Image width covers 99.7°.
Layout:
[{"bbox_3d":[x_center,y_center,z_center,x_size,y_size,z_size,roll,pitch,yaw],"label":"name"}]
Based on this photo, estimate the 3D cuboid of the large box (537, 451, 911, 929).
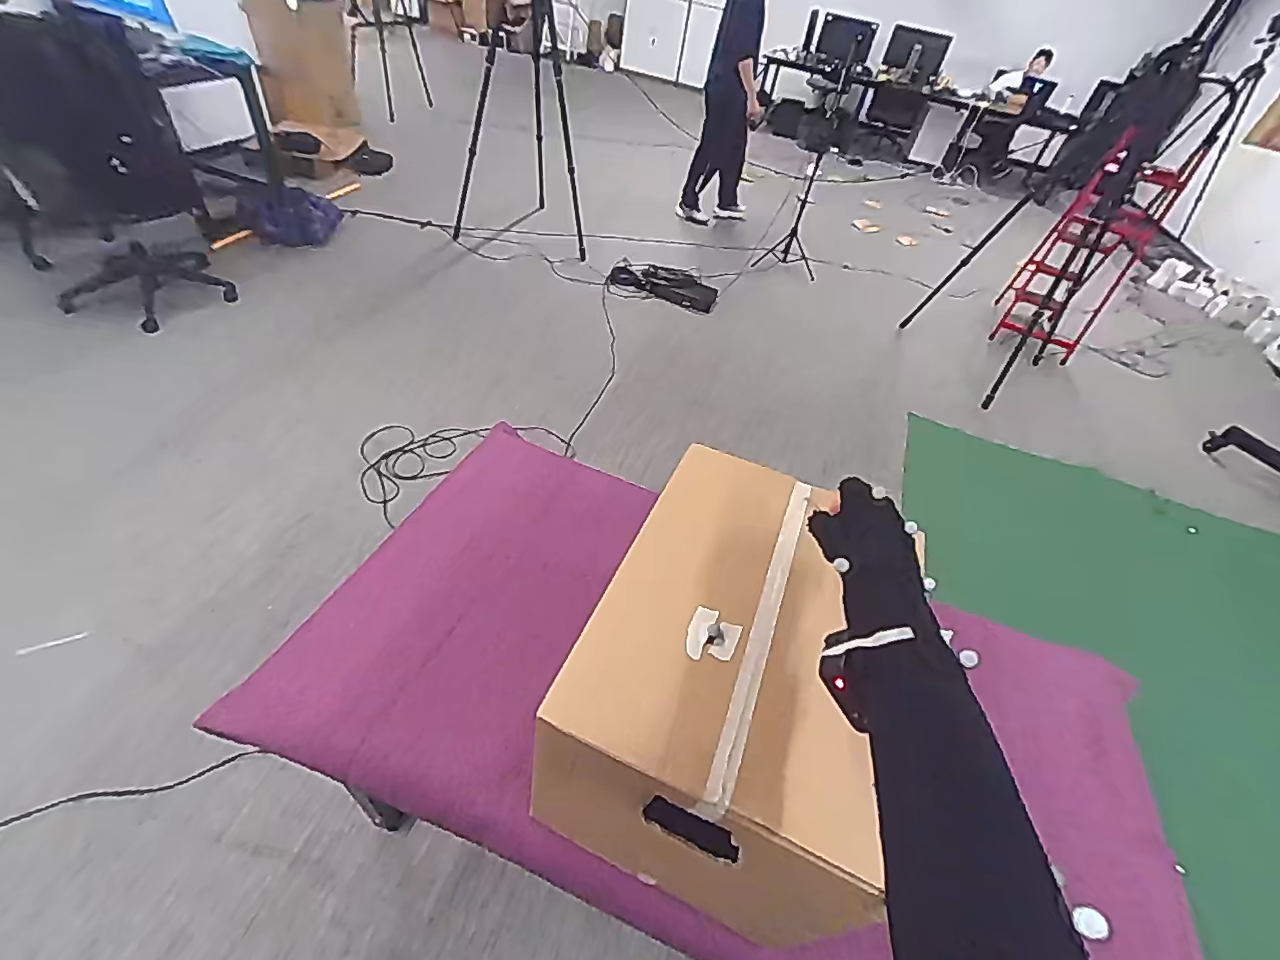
[{"bbox_3d":[0.106,0.240,0.677,0.320,0.320,0.408,22,46,10],"label":"large box"}]
